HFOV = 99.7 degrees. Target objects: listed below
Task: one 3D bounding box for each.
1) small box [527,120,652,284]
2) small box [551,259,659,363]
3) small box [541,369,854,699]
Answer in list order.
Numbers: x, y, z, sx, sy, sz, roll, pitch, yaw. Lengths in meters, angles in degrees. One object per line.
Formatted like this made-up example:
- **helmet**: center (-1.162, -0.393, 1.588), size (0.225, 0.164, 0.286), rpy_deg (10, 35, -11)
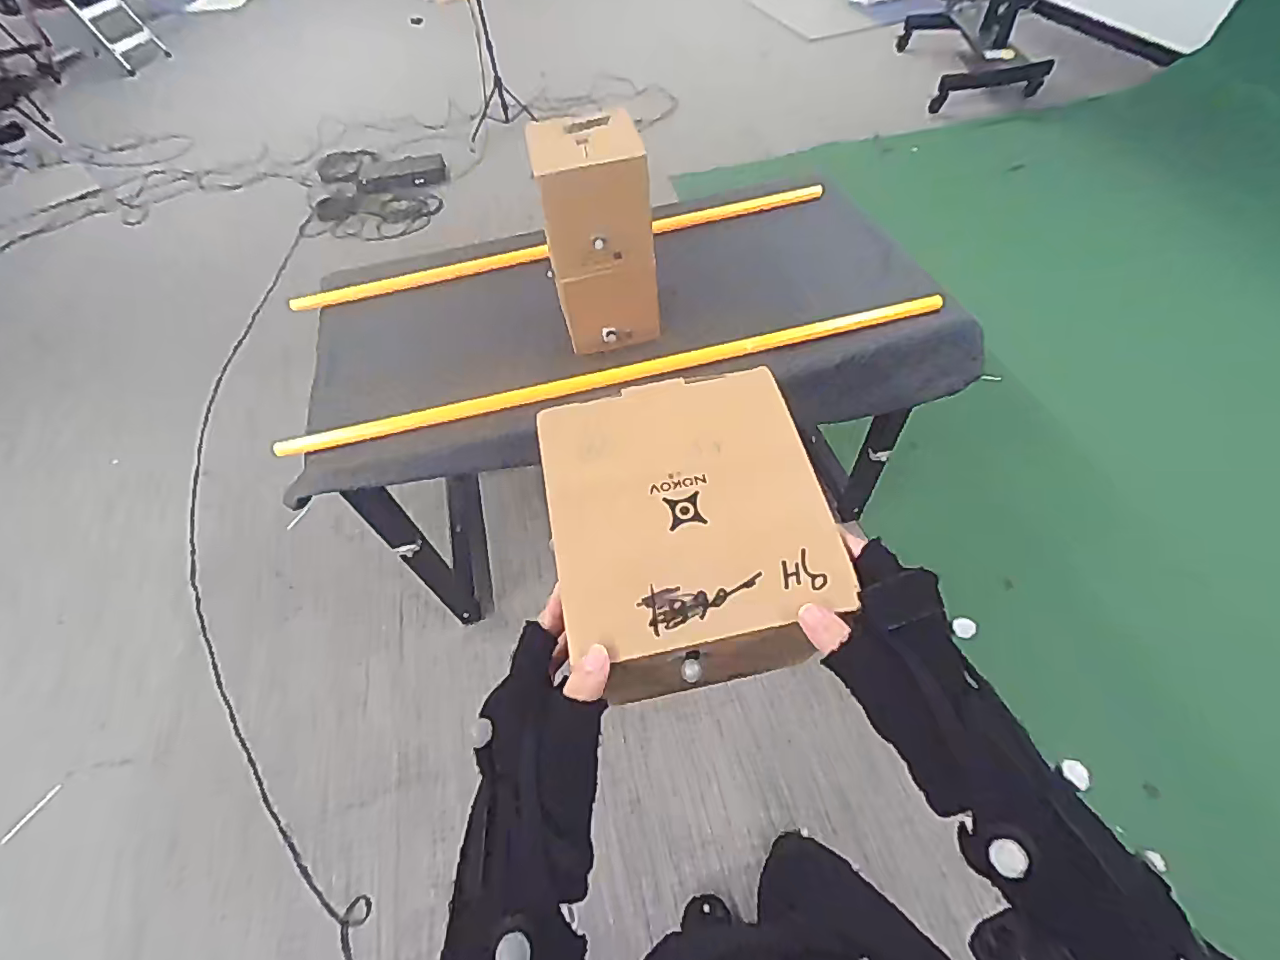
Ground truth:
- **small box**: center (-0.080, -0.451, 0.883), size (0.168, 0.176, 0.179), rpy_deg (-13, 54, -2)
- **small box**: center (-0.067, -0.350, 1.013), size (0.168, 0.176, 0.179), rpy_deg (-16, 55, -5)
- **small box**: center (0.030, 0.049, 0.409), size (0.168, 0.176, 0.179), rpy_deg (-12, 60, -2)
